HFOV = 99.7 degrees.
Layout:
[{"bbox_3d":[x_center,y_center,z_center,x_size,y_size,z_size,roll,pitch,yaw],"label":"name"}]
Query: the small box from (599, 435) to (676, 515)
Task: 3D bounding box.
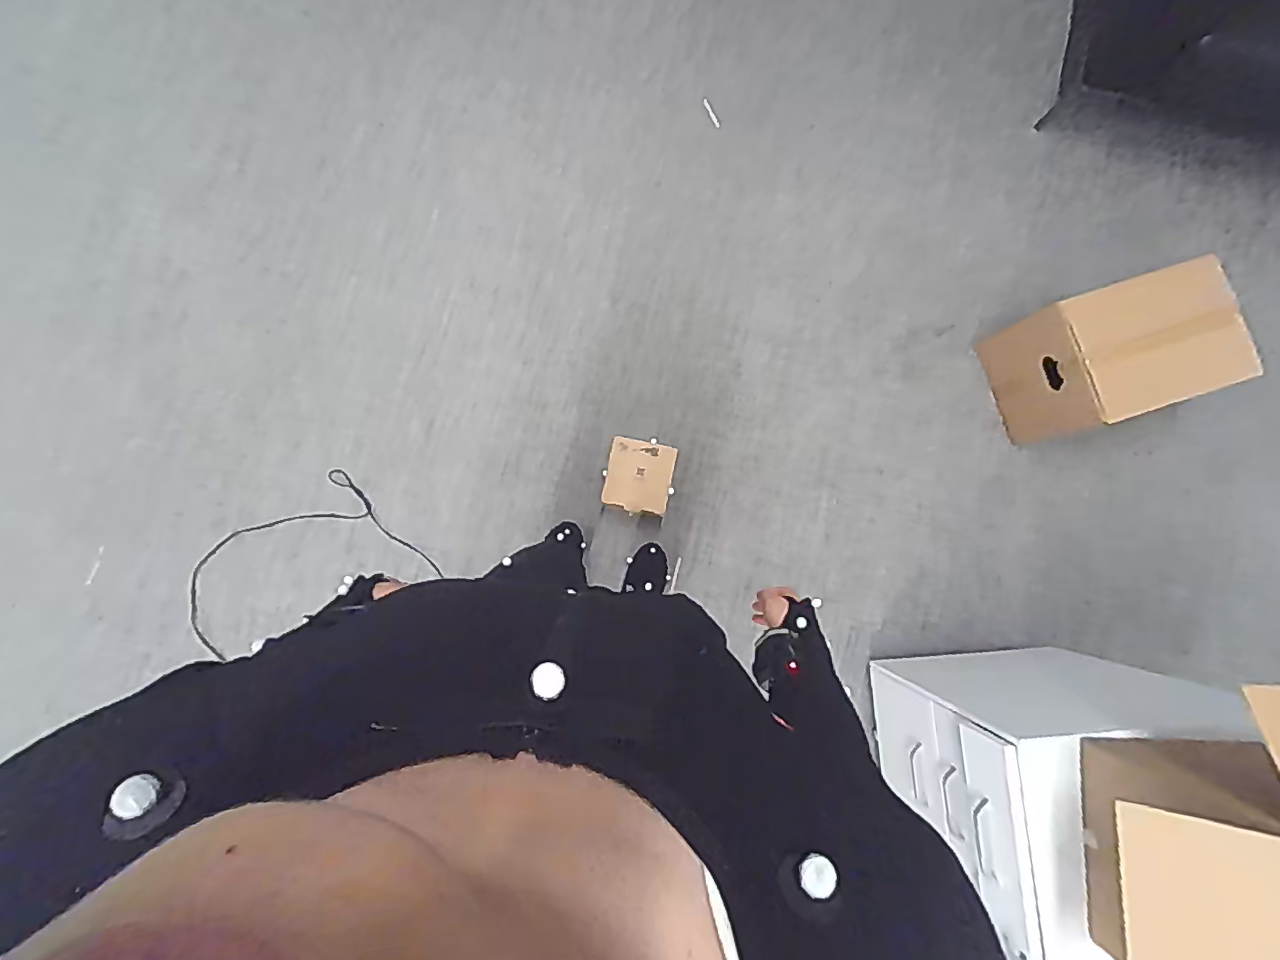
[{"bbox_3d":[-0.006,-0.007,1.439,0.168,0.176,0.179,12,85,-1],"label":"small box"}]
